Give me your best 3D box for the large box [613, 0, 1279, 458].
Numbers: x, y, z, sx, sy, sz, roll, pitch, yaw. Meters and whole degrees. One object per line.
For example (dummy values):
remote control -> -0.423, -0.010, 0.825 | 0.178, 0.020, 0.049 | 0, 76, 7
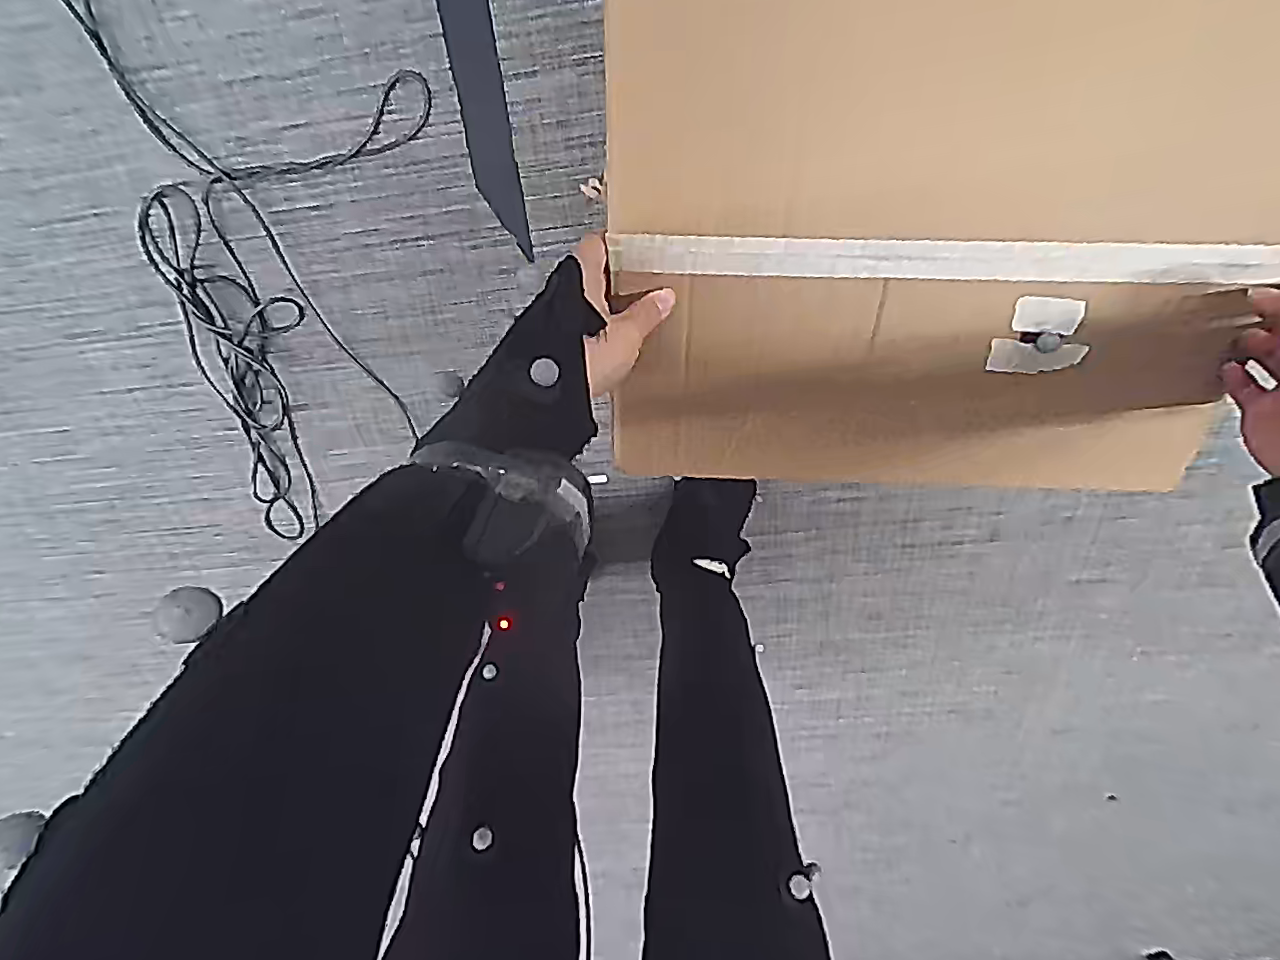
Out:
large box -> 0.189, -0.224, 0.443 | 0.408, 0.320, 0.320 | 1, 121, 1
